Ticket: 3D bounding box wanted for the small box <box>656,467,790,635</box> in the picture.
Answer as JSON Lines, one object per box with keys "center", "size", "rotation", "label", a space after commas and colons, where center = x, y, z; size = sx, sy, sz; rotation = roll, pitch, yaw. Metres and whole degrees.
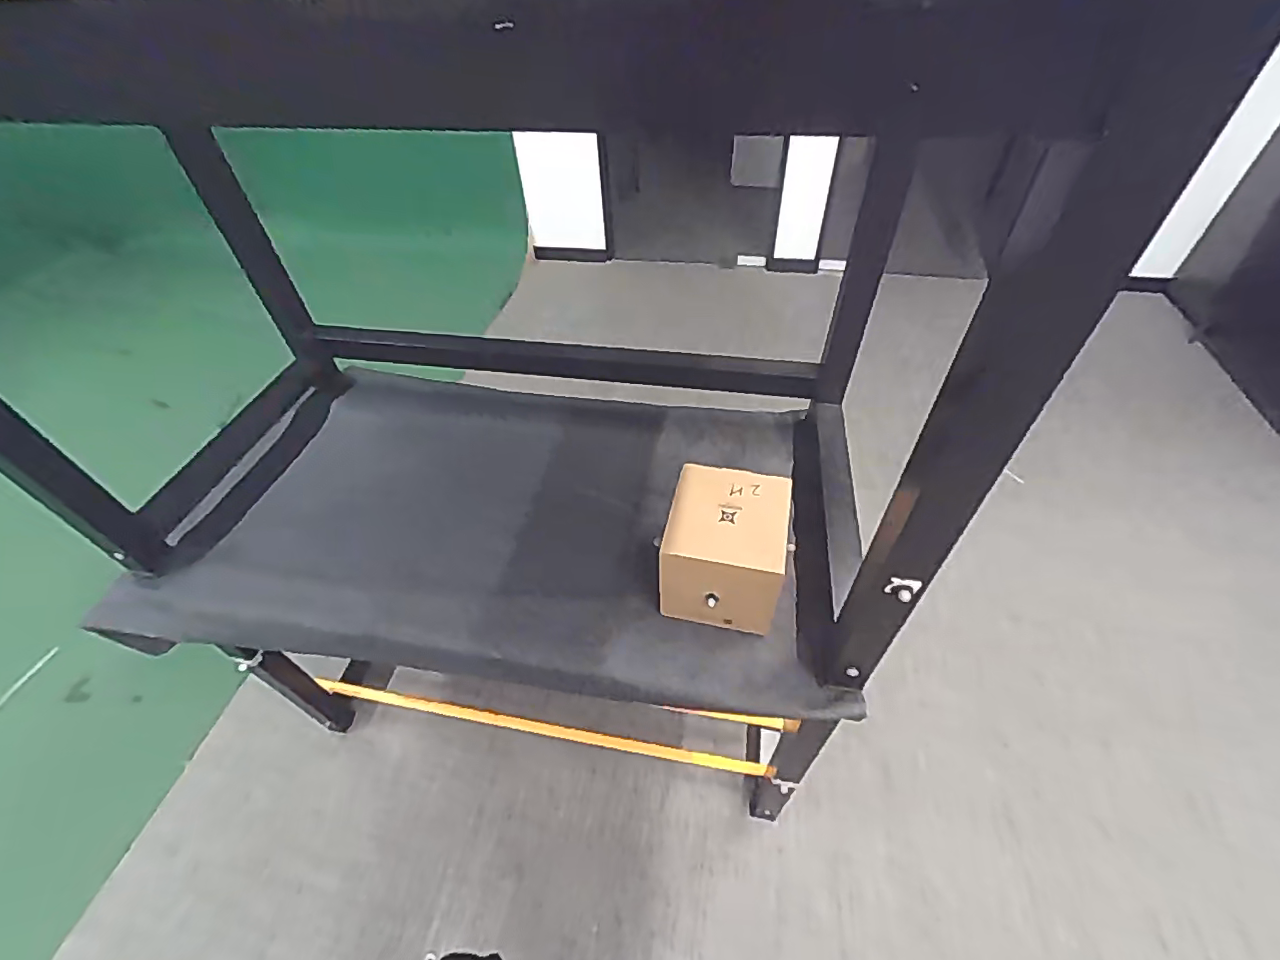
{"center": [0.125, 0.109, 0.819], "size": [0.168, 0.176, 0.179], "rotation": [10, 47, 11], "label": "small box"}
